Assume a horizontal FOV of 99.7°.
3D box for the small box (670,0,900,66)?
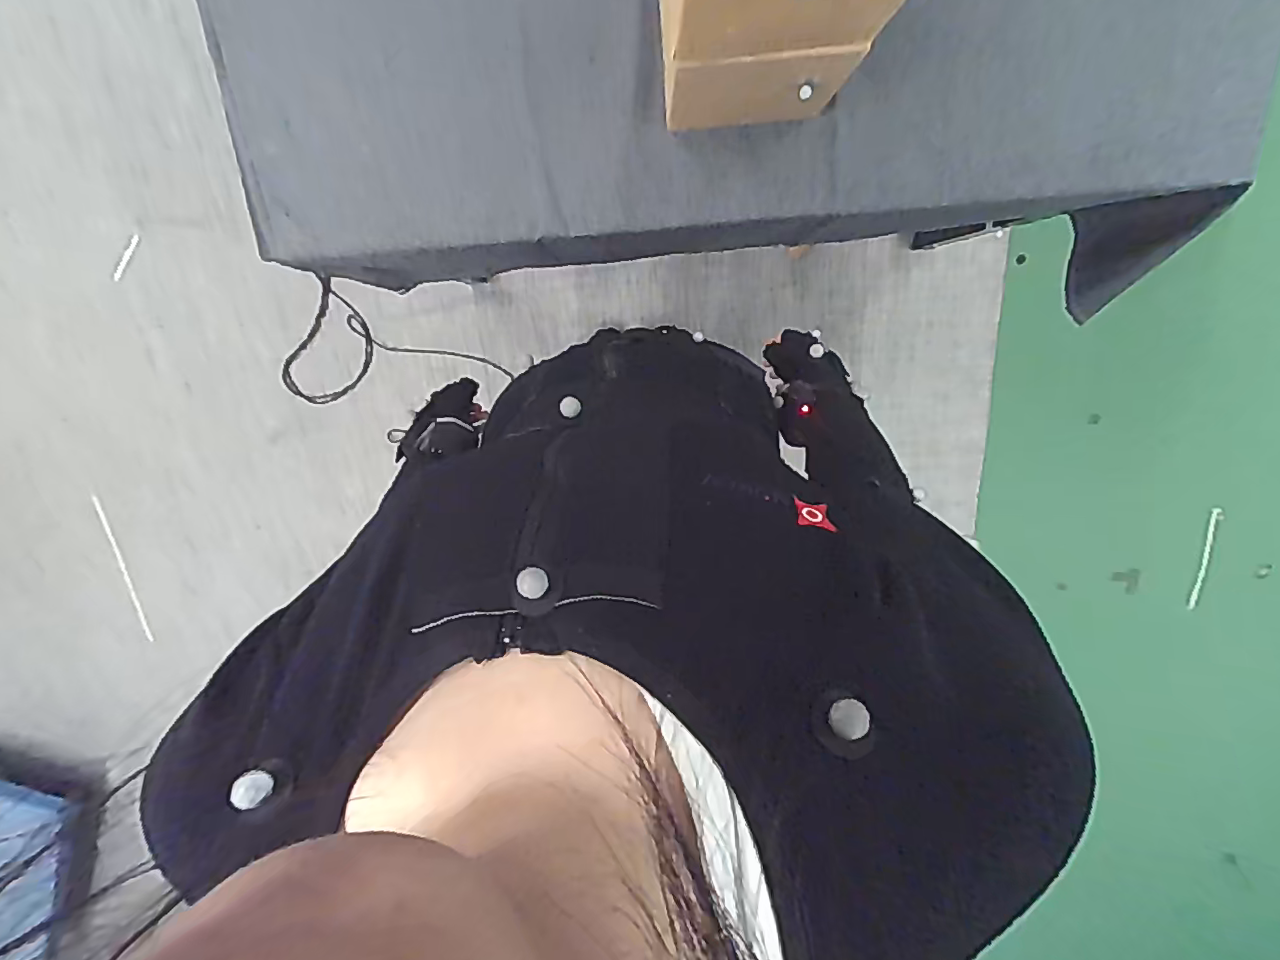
[{"bbox_3d":[0.110,-0.429,0.381,0.179,0.176,0.168,-5,105,2],"label":"small box"}]
